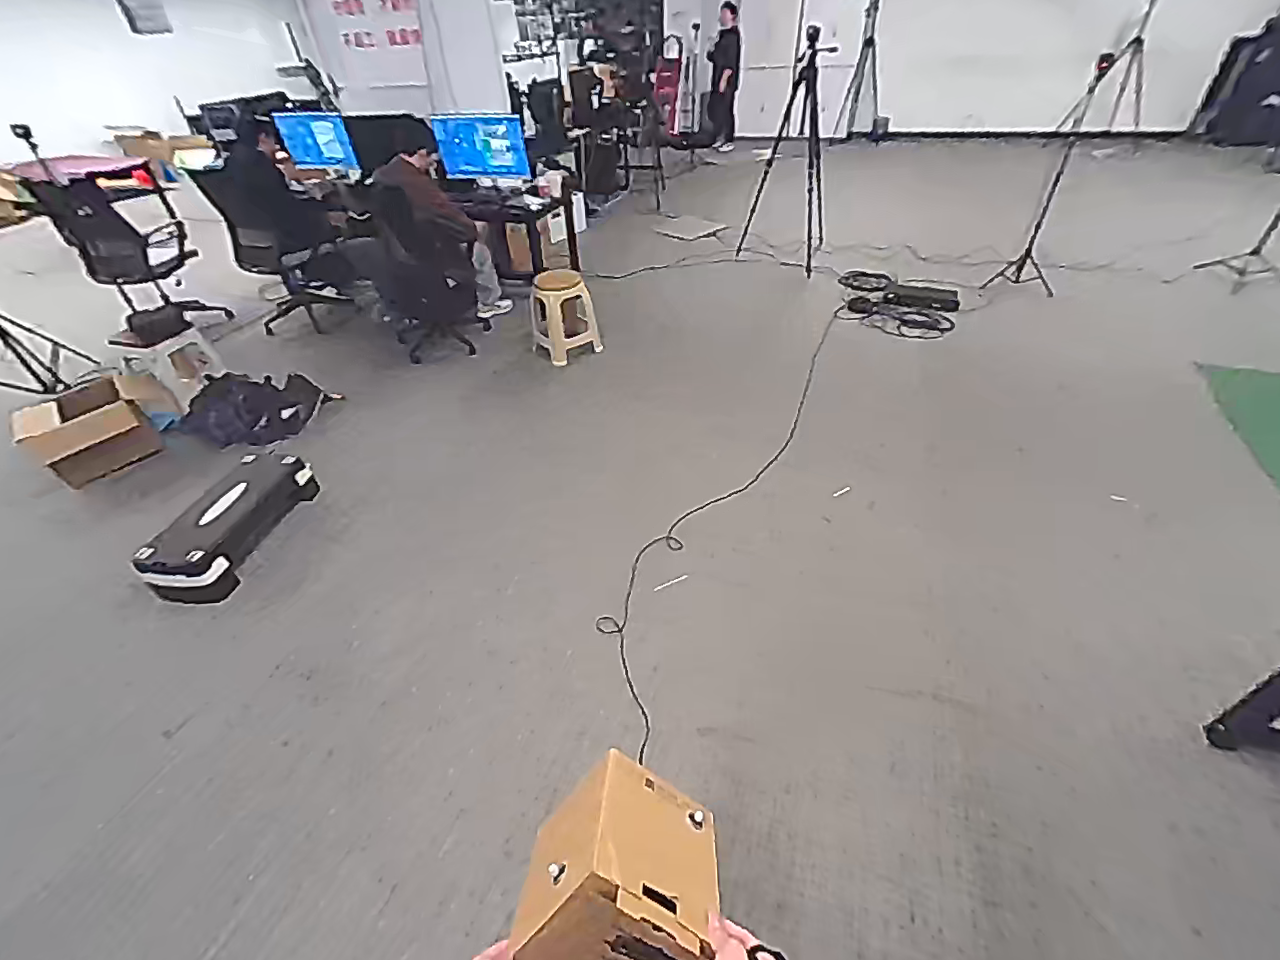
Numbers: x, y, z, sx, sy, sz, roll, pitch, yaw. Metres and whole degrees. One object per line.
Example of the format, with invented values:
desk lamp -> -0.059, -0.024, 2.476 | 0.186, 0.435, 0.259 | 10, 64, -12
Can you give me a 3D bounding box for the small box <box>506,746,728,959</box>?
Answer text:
small box -> -0.023, 0.453, 0.625 | 0.168, 0.179, 0.176 | 37, 17, -9
